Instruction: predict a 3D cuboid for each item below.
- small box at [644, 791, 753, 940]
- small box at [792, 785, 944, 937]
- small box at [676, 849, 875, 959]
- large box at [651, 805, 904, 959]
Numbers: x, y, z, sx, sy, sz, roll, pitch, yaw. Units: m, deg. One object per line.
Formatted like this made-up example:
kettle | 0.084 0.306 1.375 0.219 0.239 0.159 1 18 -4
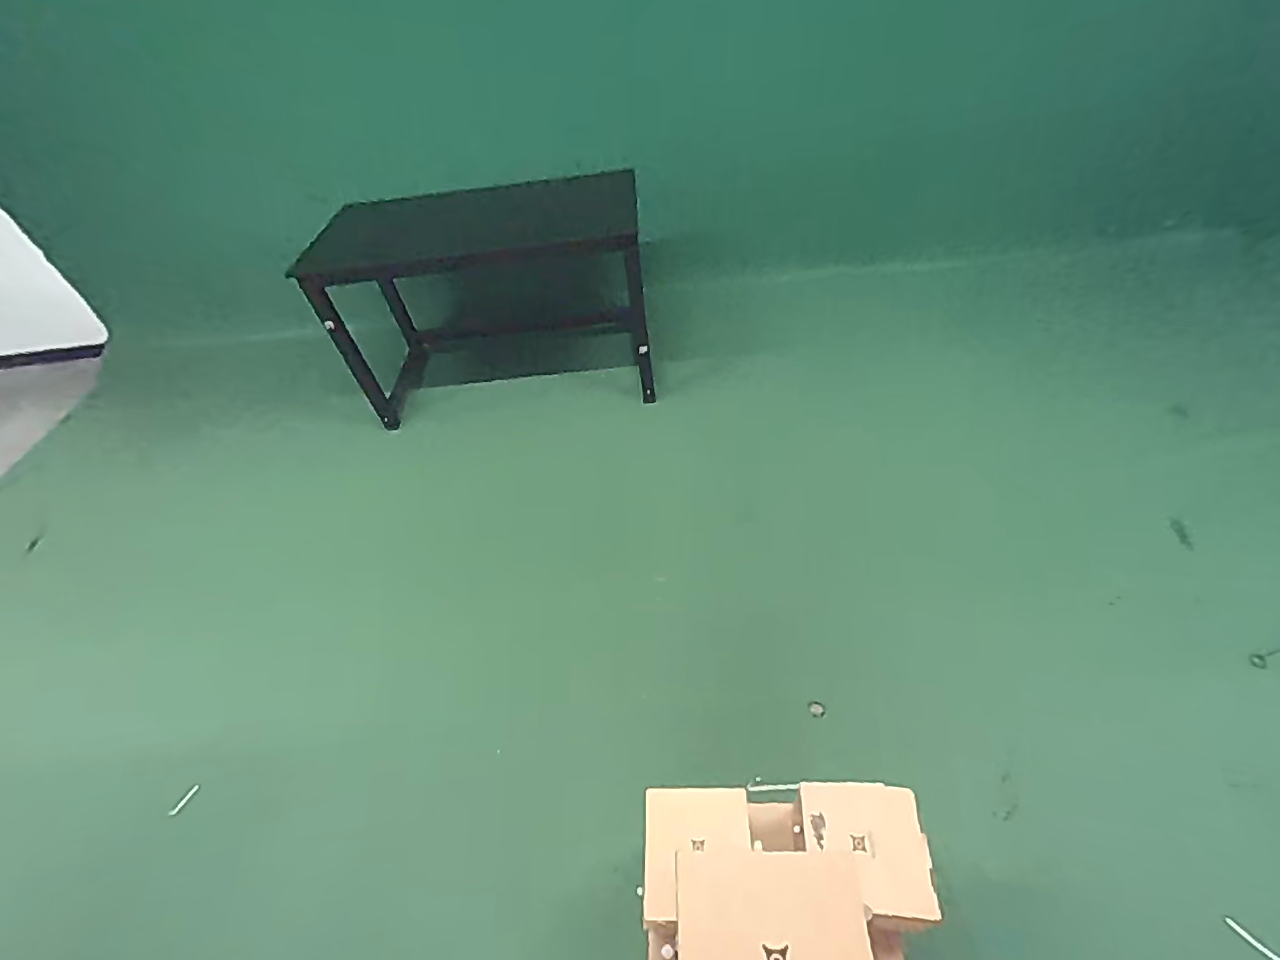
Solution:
small box | 0.096 0.623 0.873 0.168 0.176 0.179 -3 46 5
small box | 0.343 0.601 0.852 0.179 0.176 0.168 -1 46 9
small box | 0.116 0.458 0.501 0.168 0.176 0.179 -2 51 4
large box | 0.228 0.819 1.003 0.408 0.320 0.320 -3 47 5
